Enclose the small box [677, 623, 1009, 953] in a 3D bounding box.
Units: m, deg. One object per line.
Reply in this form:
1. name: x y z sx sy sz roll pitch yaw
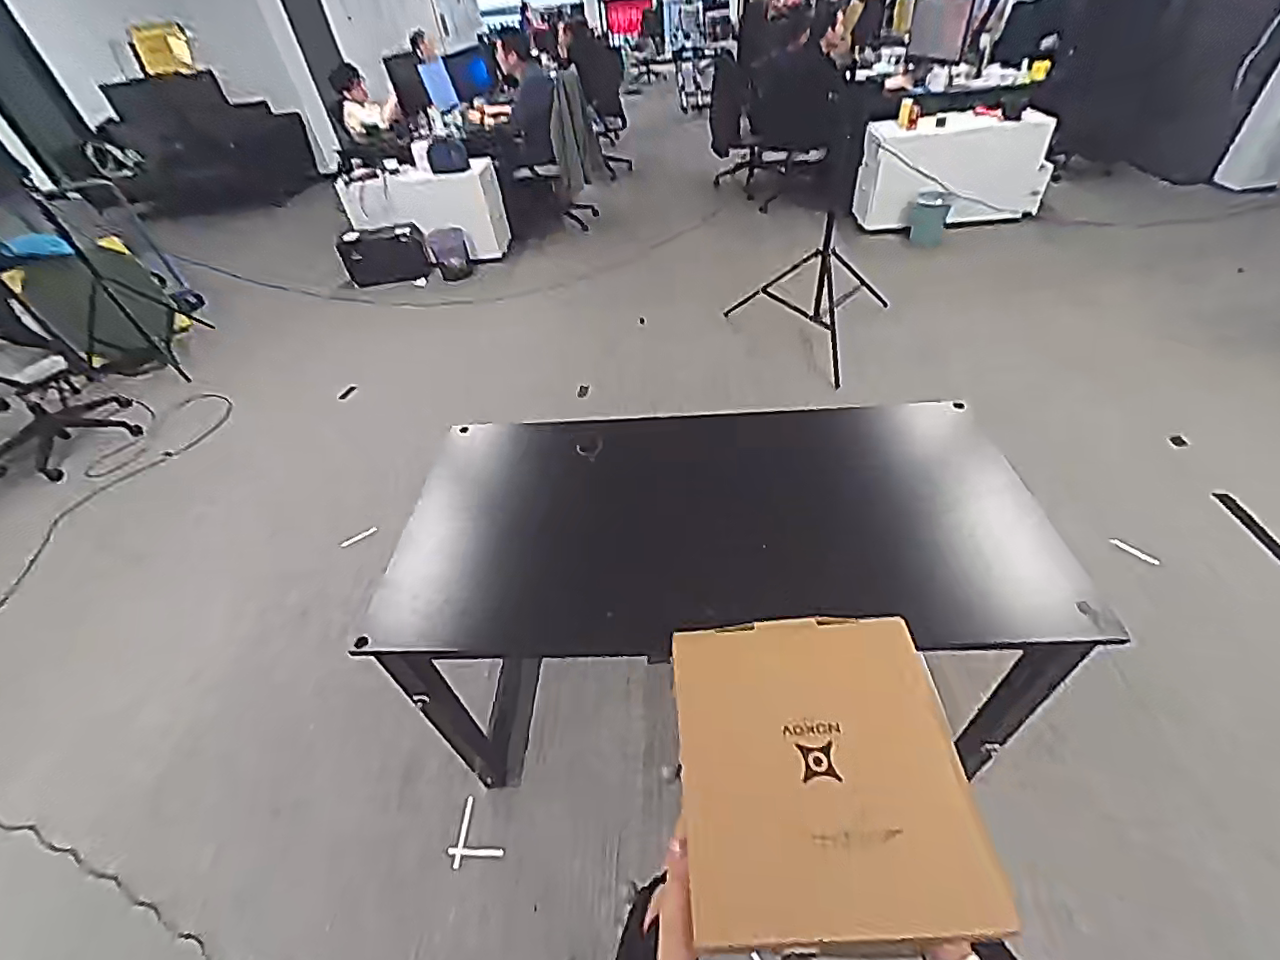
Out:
1. small box: 0.115 0.227 0.396 0.168 0.176 0.179 -5 48 3
